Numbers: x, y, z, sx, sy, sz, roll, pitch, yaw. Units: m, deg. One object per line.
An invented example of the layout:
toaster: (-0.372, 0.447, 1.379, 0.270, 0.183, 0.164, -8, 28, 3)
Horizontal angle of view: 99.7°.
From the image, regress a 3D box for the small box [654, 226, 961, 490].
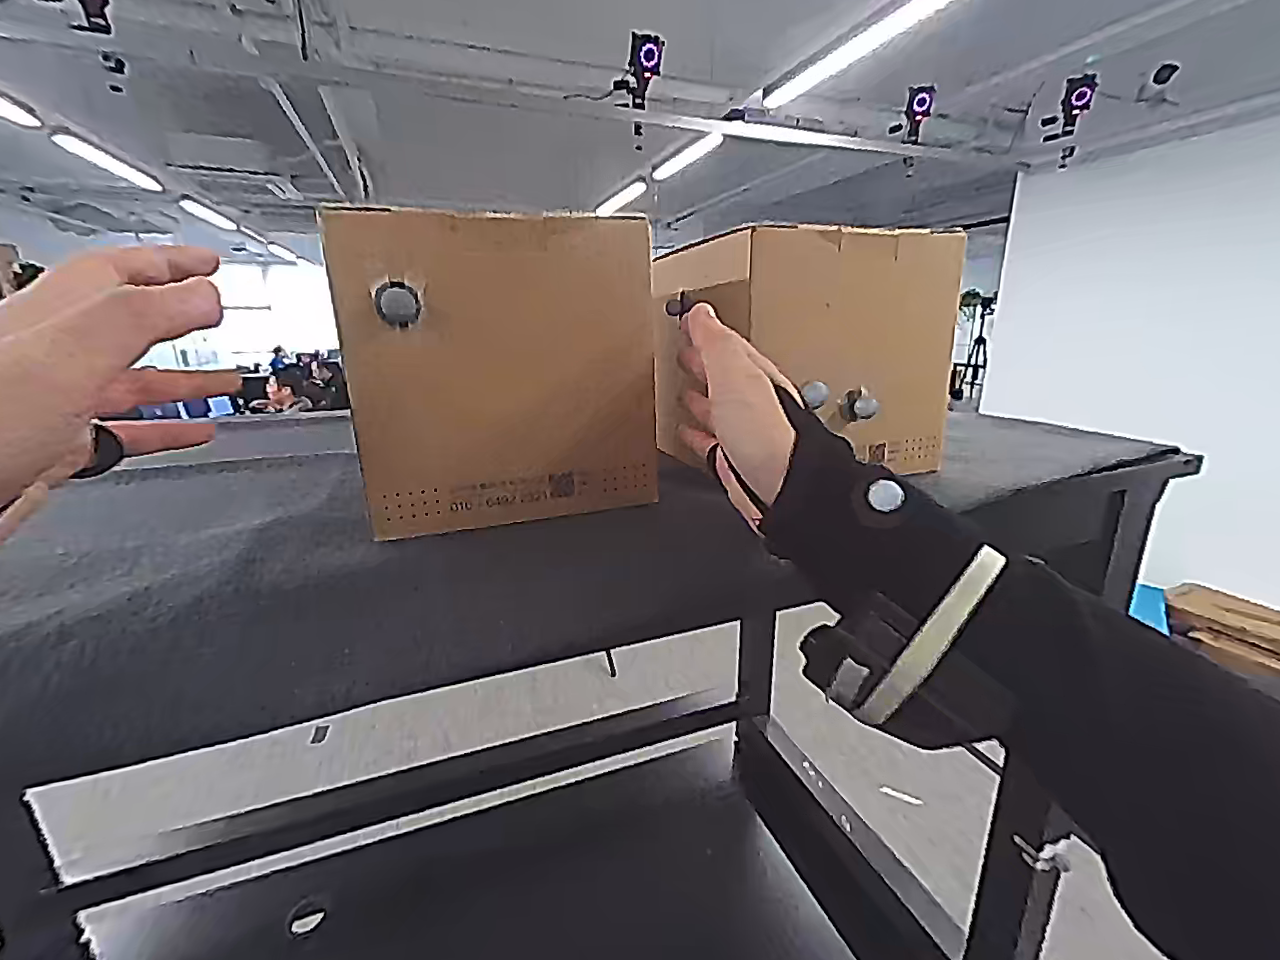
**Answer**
small box: (0.116, -0.096, 0.437, 0.168, 0.176, 0.179, -8, 17, -18)
